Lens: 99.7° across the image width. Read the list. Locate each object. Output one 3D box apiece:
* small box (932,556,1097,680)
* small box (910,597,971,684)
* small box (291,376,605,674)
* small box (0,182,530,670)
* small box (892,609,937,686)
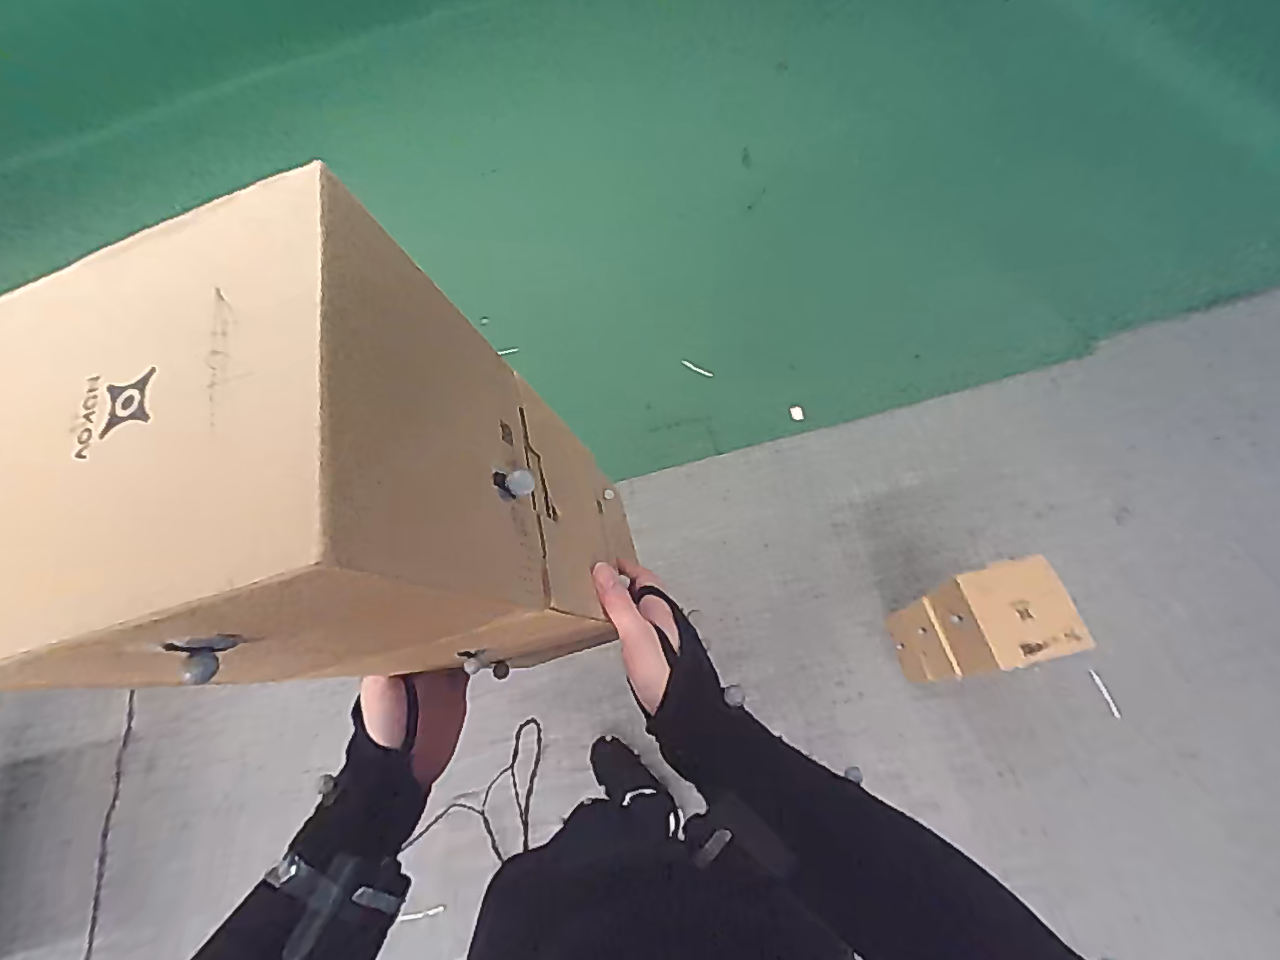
[{"bbox_3d":[0.688,0.266,1.023,0.168,0.176,0.179,-15,63,4],"label":"small box"},{"bbox_3d":[0.710,0.335,1.171,0.179,0.176,0.168,-16,64,3],"label":"small box"},{"bbox_3d":[-0.138,0.048,0.431,0.179,0.176,0.168,-18,68,10],"label":"small box"},{"bbox_3d":[-0.180,-0.001,0.281,0.179,0.176,0.168,-17,69,9],"label":"small box"},{"bbox_3d":[0.737,0.399,1.317,0.179,0.176,0.168,-14,65,4],"label":"small box"}]
